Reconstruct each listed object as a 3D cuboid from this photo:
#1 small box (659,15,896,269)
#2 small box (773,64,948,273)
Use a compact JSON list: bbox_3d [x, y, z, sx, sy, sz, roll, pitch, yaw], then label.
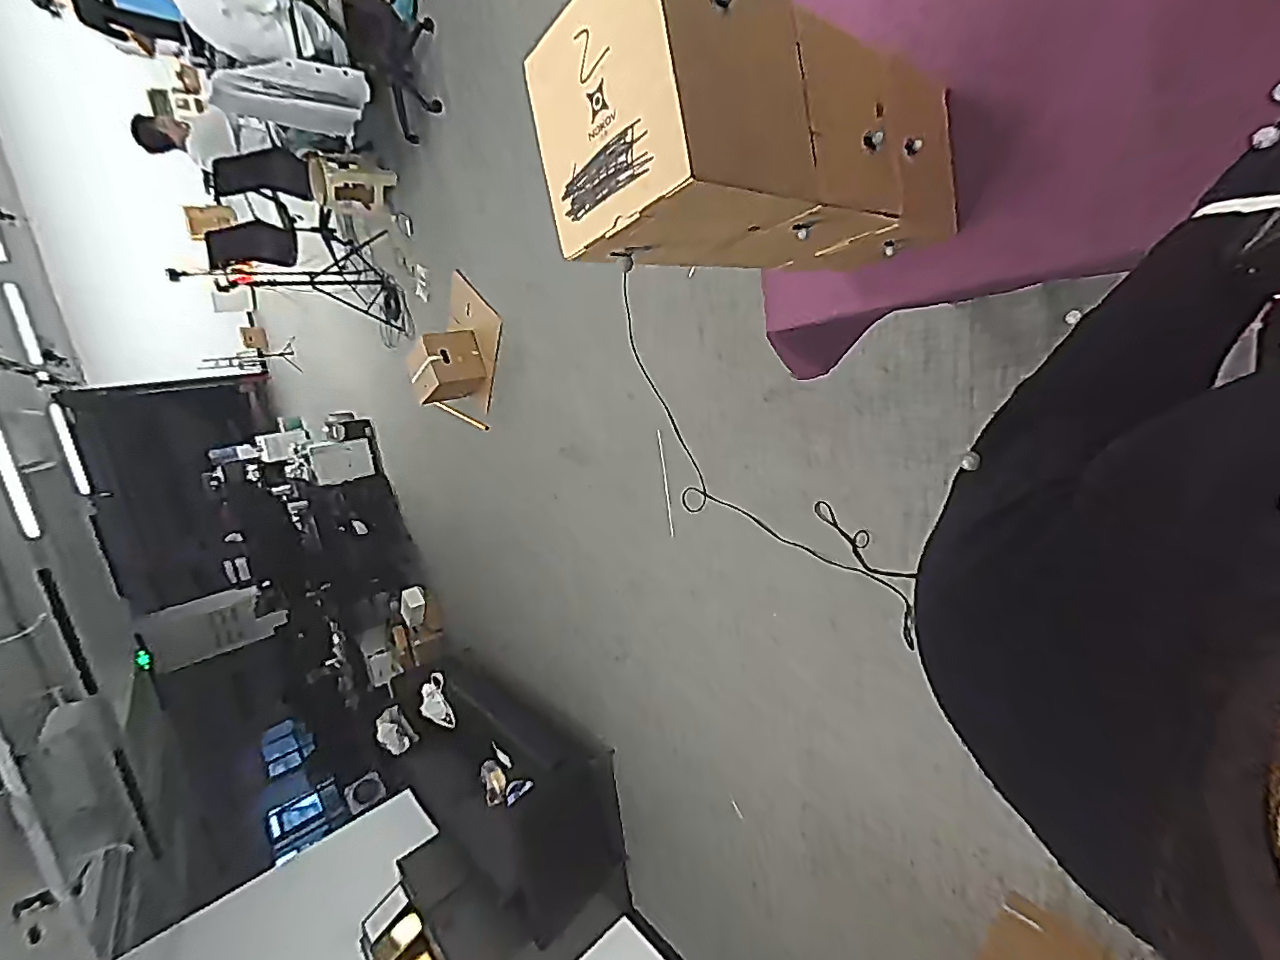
[{"bbox_3d":[0.150,-0.337,0.589,0.179,0.176,0.168,-2,102,49],"label":"small box"},{"bbox_3d":[0.273,-0.374,0.688,0.168,0.176,0.179,1,103,49],"label":"small box"}]
